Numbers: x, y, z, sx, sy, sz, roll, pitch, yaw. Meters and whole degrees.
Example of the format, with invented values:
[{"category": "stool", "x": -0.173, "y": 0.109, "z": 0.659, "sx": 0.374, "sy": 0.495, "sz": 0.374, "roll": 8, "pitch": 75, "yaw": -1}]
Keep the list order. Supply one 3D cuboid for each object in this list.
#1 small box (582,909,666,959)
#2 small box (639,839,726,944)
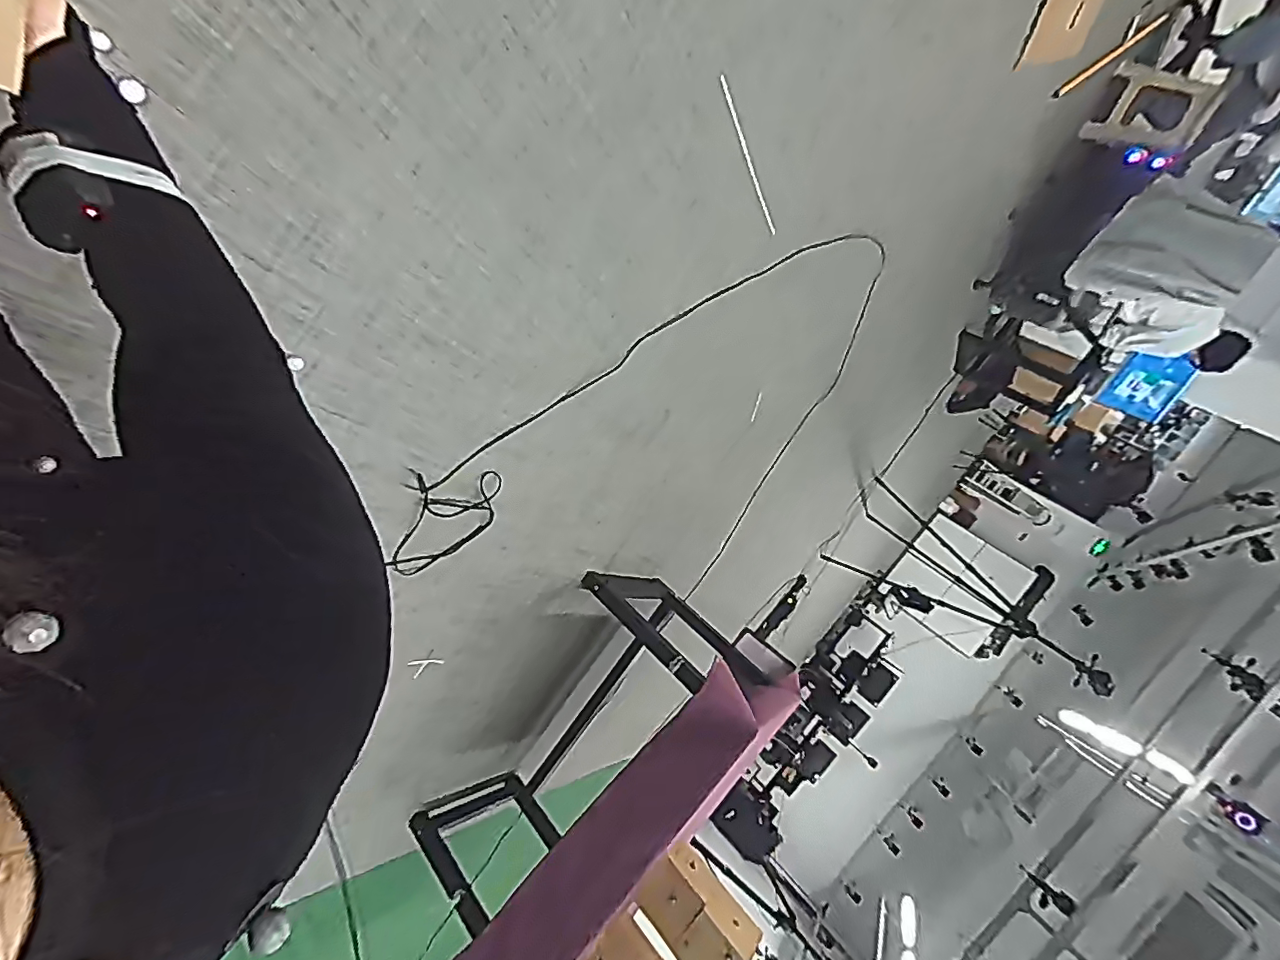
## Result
[{"category": "small box", "x": -0.053, "y": 1.492, "z": 1.680, "sx": 0.168, "sy": 0.176, "sz": 0.179, "roll": -53, "pitch": 150, "yaw": 1}, {"category": "small box", "x": 0.129, "y": 1.241, "z": 1.653, "sx": 0.179, "sy": 0.176, "sz": 0.168, "roll": -53, "pitch": 150, "yaw": 2}]
